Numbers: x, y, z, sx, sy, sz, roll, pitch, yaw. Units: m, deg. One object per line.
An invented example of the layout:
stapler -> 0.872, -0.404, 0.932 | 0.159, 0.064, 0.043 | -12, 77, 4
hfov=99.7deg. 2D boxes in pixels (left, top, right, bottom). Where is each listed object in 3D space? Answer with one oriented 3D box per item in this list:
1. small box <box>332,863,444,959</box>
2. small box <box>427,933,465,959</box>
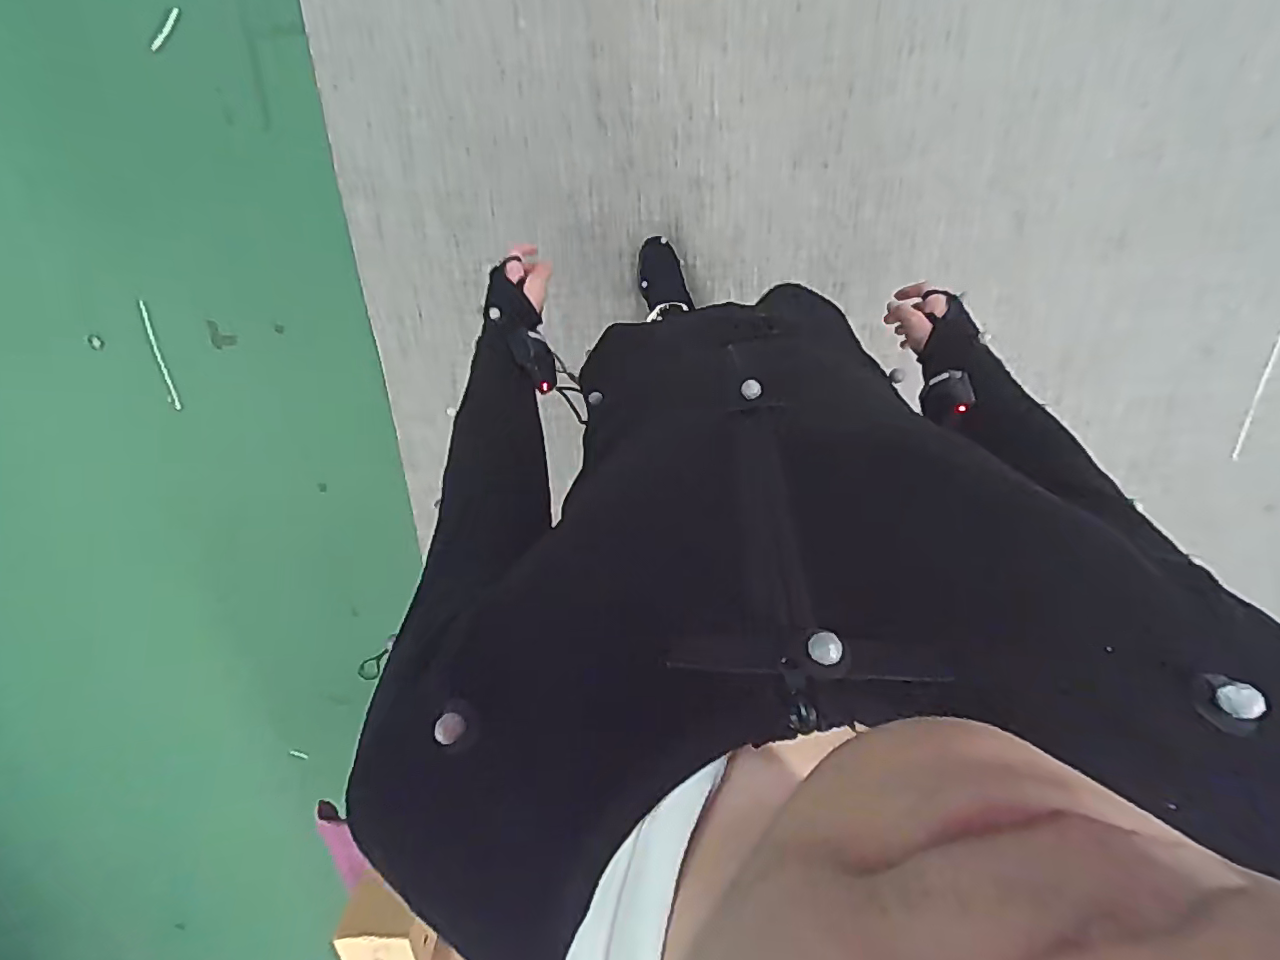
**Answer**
small box -> -0.569, 1.024, 1.246 | 0.168, 0.176, 0.179 | -1, 113, 1
small box -> -0.544, 1.279, 1.353 | 0.168, 0.176, 0.179 | -2, 112, 2
